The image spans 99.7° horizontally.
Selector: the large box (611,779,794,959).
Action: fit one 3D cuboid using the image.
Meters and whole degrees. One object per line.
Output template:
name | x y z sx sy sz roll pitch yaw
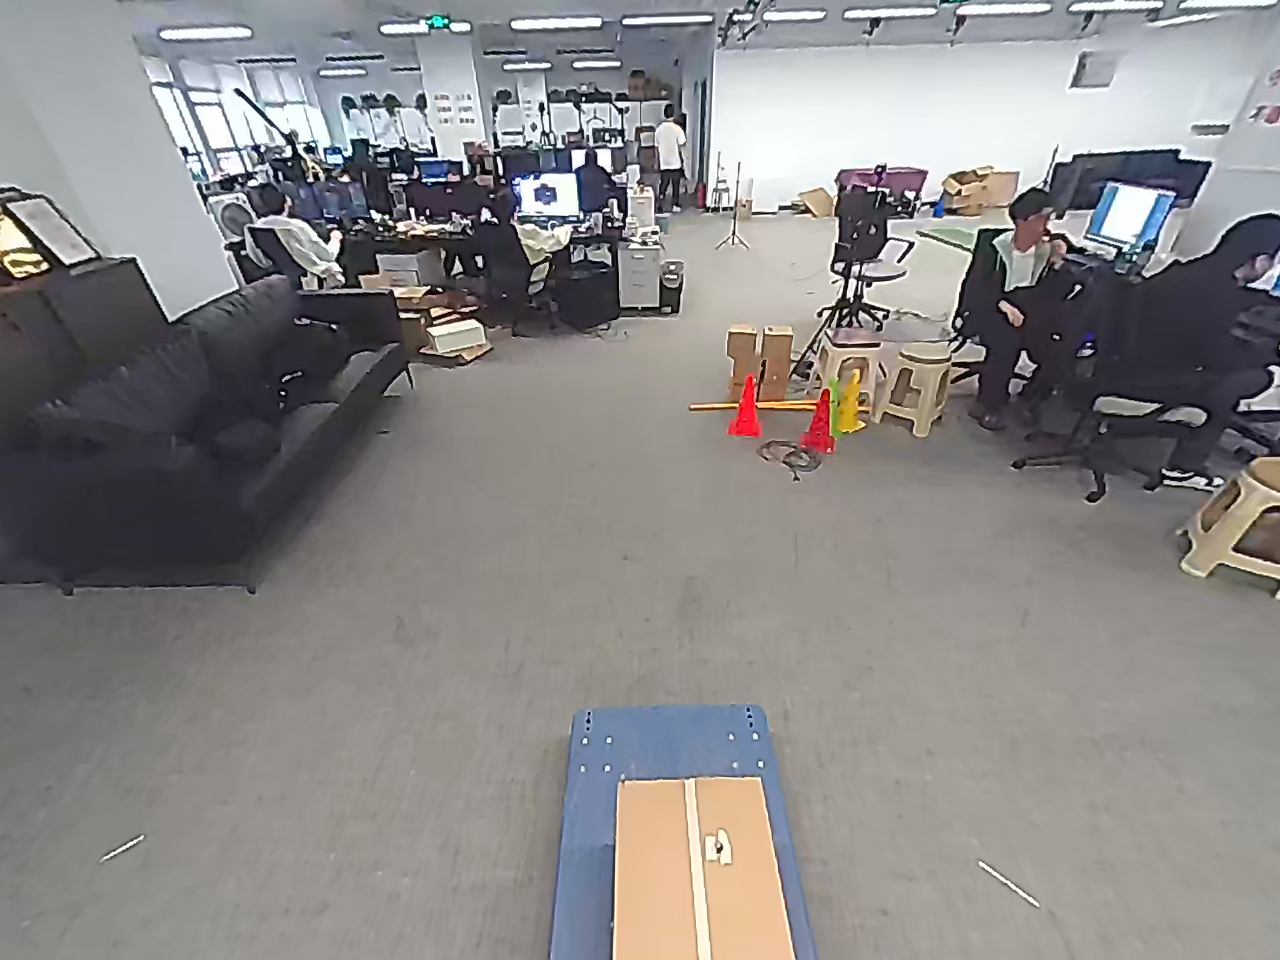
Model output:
large box | 0.110 0.889 1.086 0.320 0.320 0.408 -2 33 0
